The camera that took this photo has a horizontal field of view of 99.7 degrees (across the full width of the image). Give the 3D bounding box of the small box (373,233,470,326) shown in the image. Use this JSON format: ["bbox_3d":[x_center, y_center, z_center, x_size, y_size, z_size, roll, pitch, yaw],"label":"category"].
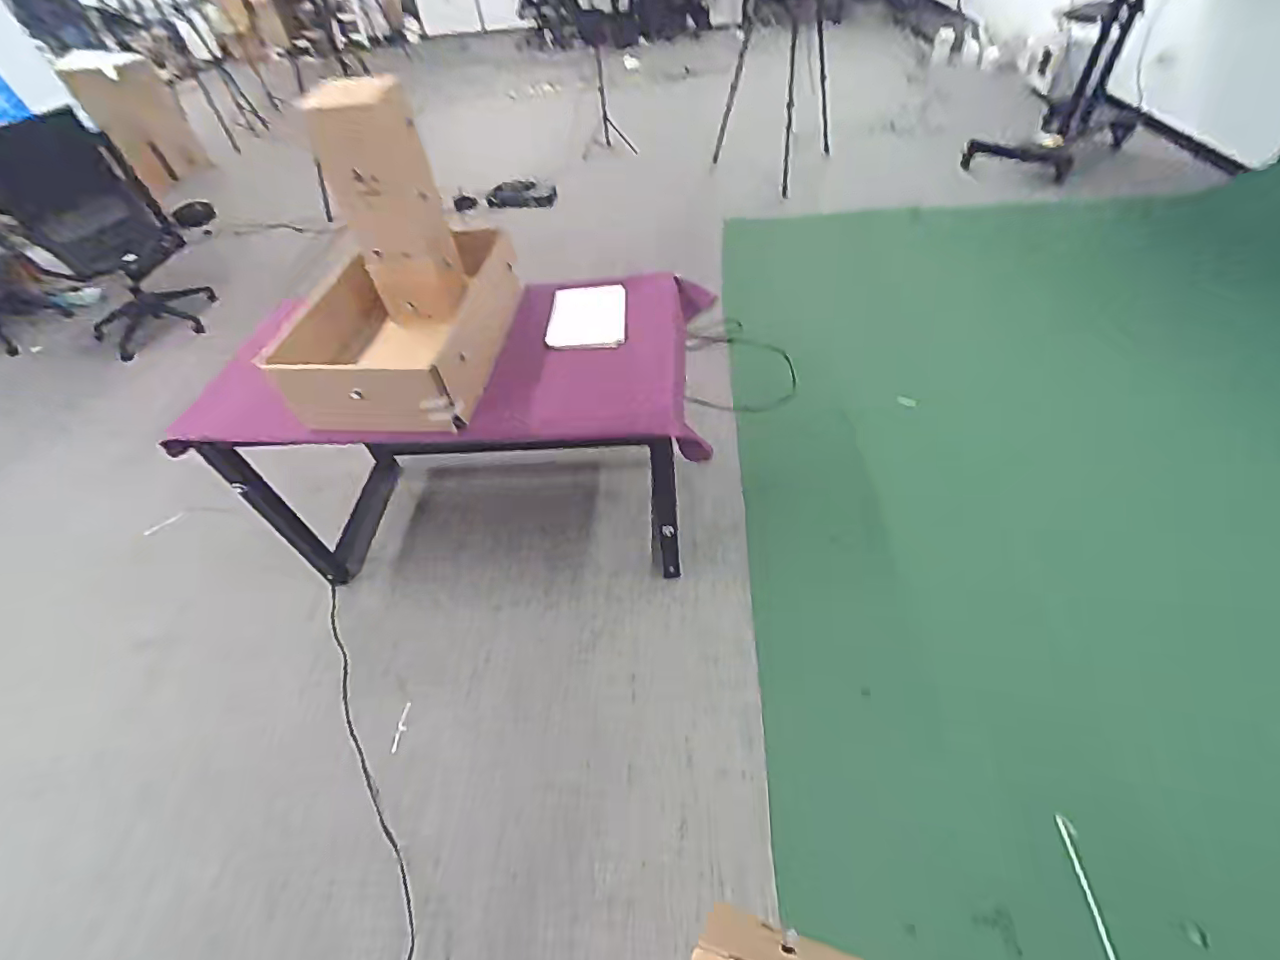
[{"bbox_3d":[-0.562,-0.526,1.422,0.168,0.176,0.179,-1,51,4],"label":"small box"}]

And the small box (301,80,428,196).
[{"bbox_3d":[-0.583,-0.742,1.176,0.168,0.176,0.179,-1,51,5],"label":"small box"}]

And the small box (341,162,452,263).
[{"bbox_3d":[-0.573,-0.638,1.301,0.168,0.176,0.179,-1,50,4],"label":"small box"}]
